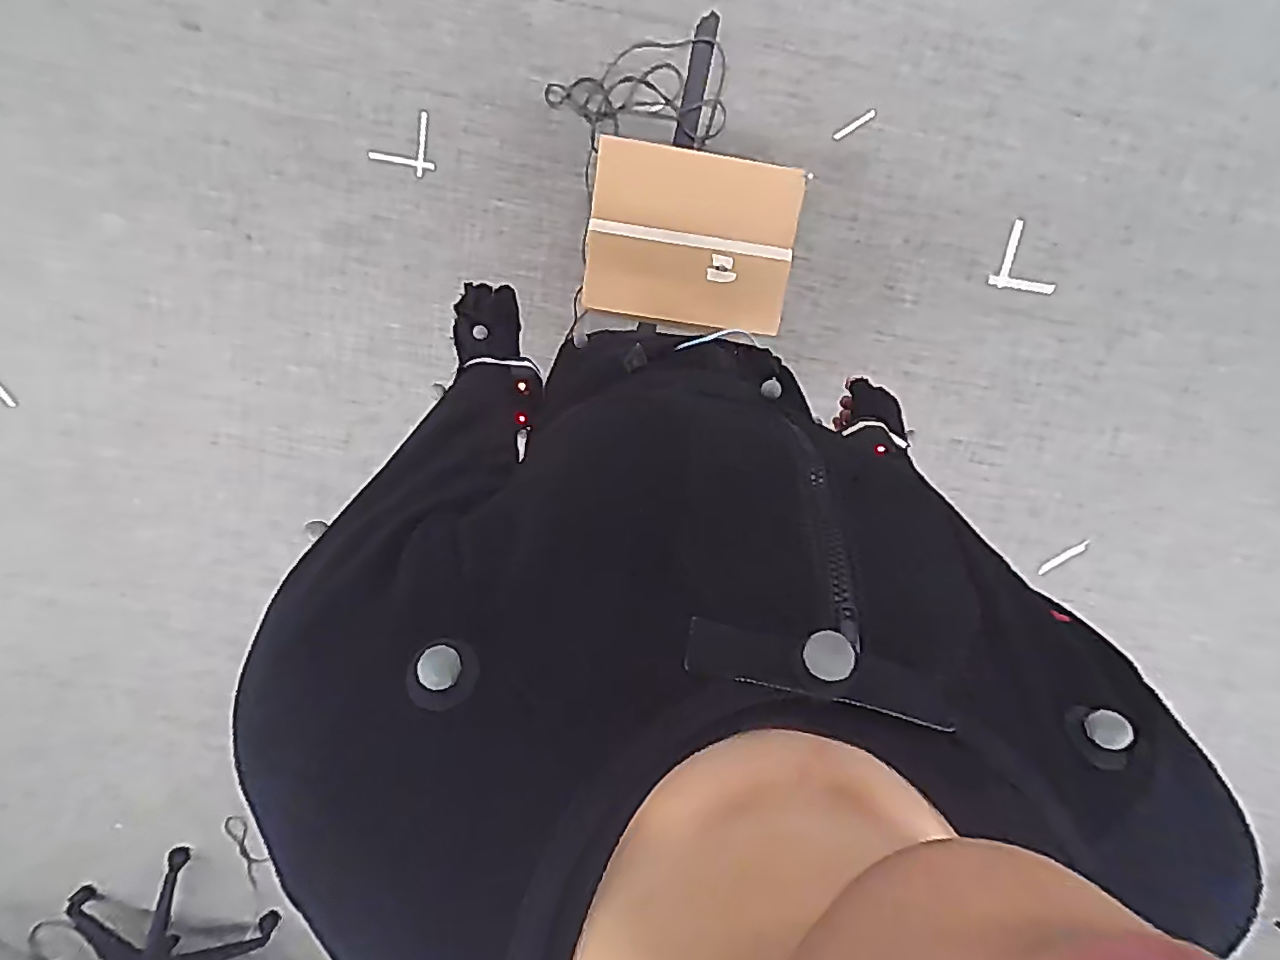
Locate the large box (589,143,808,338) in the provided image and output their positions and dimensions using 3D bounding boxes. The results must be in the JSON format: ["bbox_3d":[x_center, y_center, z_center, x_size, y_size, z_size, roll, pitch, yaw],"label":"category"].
[{"bbox_3d":[0.103,-0.505,1.218,0.408,0.320,0.320,8,105,-5],"label":"large box"}]
